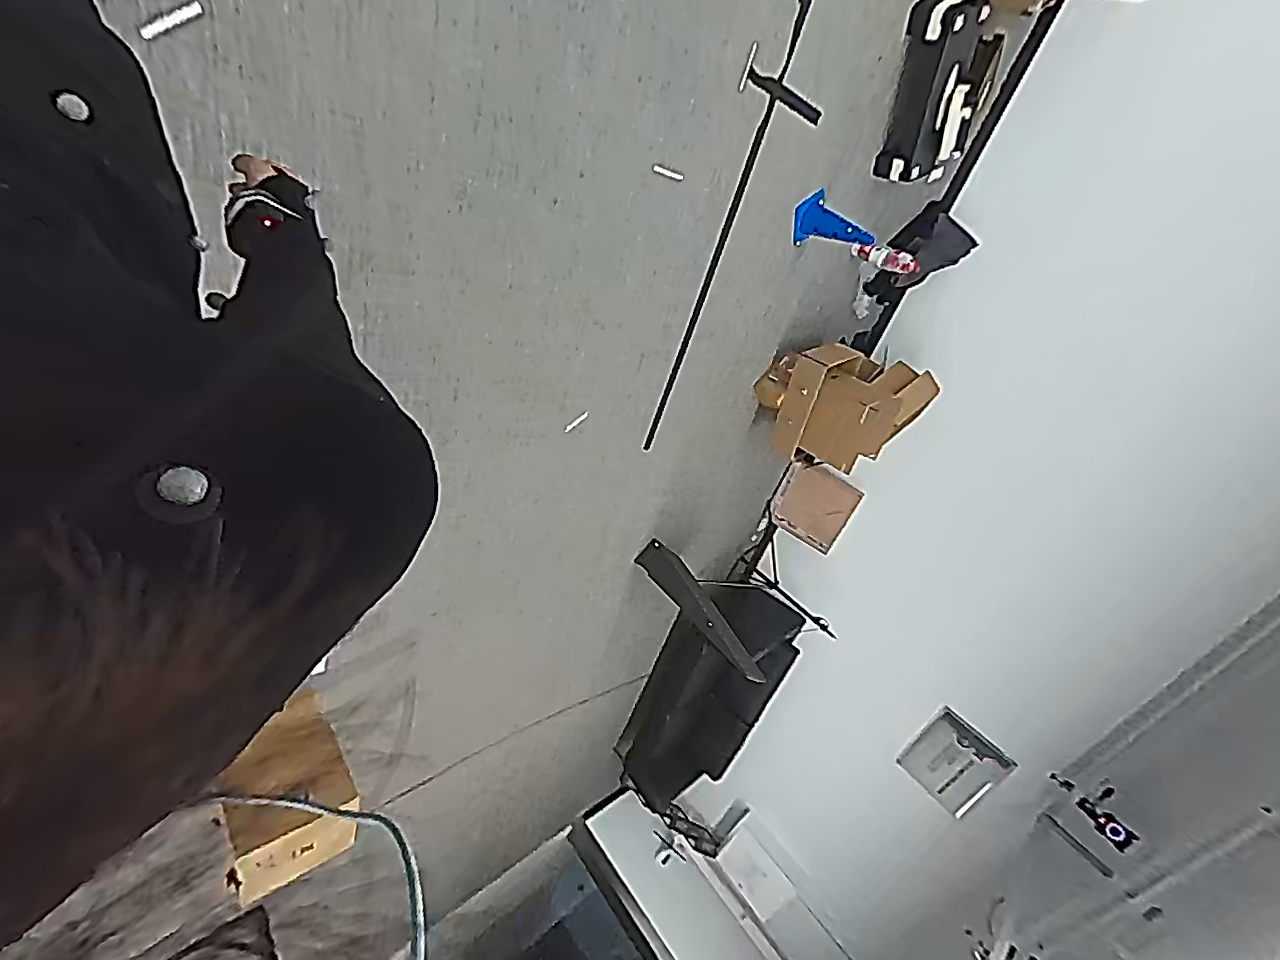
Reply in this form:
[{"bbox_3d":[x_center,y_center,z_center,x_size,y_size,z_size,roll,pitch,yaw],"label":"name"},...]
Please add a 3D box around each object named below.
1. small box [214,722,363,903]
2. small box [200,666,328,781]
[{"bbox_3d":[-0.606,0.558,0.932,0.179,0.176,0.168,-11,131,-45],"label":"small box"},{"bbox_3d":[-0.716,0.482,1.030,0.168,0.176,0.179,-10,132,-45],"label":"small box"}]
